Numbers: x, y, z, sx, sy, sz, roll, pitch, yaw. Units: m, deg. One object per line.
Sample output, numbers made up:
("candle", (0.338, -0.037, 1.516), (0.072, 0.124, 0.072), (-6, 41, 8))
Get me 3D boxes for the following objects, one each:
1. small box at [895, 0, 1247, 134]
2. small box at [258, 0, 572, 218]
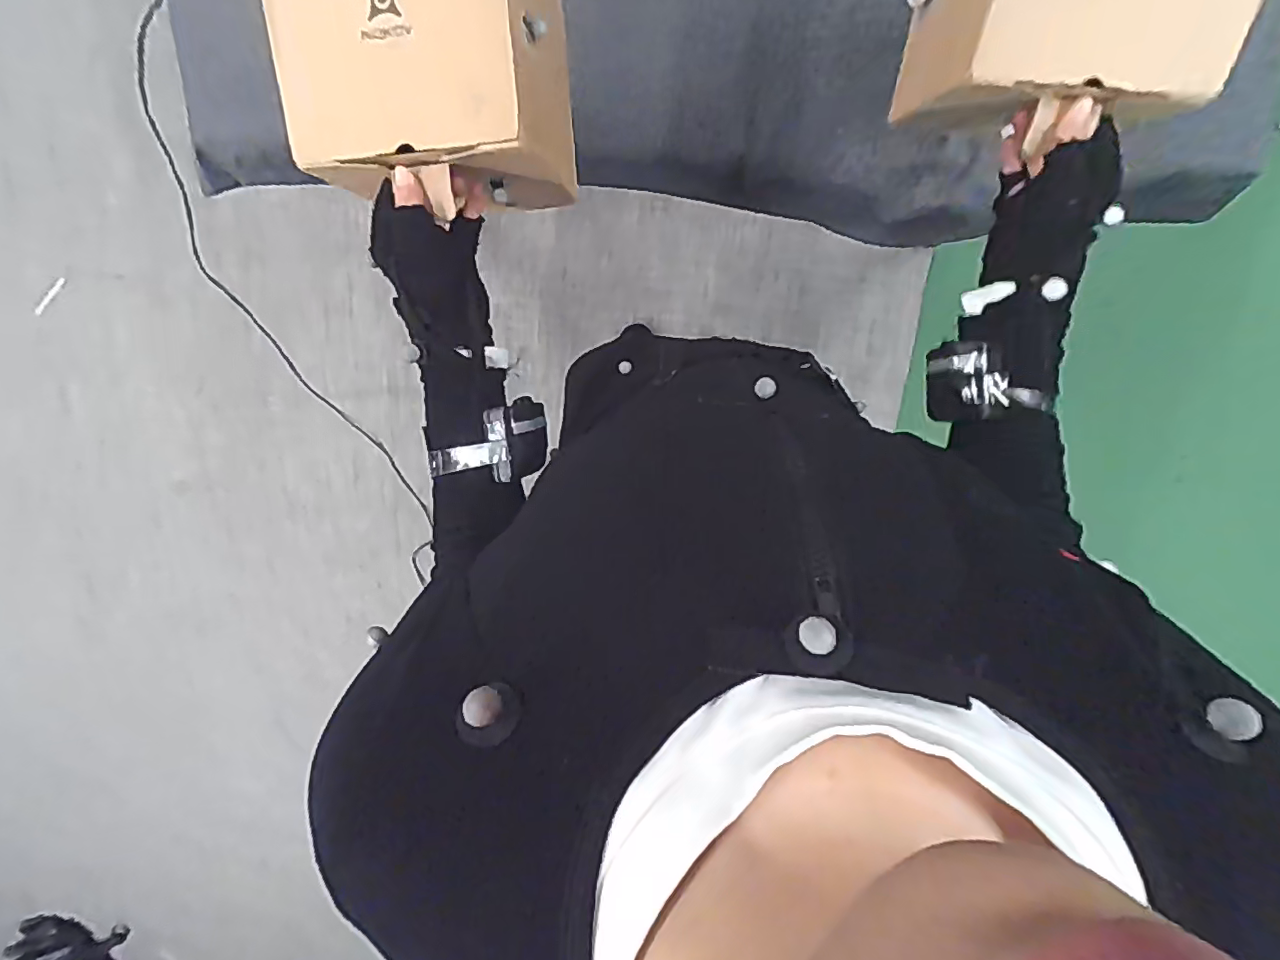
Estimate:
("small box", (0.316, -0.378, 0.407), (0.168, 0.176, 0.179), (7, 115, 1))
("small box", (-0.155, -0.315, 0.419), (0.168, 0.176, 0.179), (-3, 103, 7))
